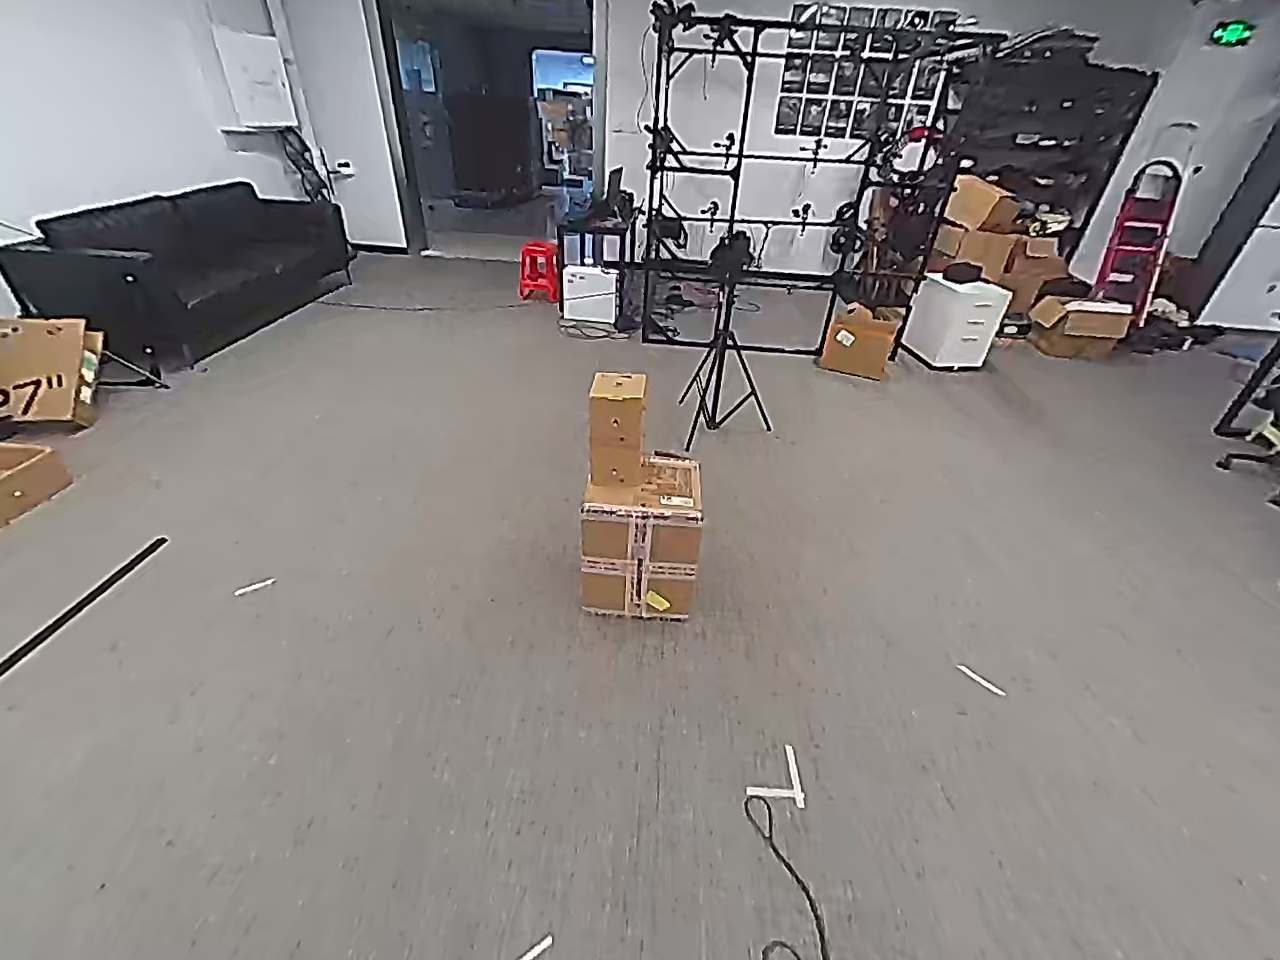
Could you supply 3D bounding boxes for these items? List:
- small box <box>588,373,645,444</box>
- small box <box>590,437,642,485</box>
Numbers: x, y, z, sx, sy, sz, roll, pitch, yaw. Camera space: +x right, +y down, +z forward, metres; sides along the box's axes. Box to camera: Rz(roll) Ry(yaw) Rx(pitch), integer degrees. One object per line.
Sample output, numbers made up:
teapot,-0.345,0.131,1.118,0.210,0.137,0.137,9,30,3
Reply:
small box,-0.072,-0.230,1.745,0.168,0.176,0.179,3,37,3
small box,-0.079,-0.103,1.849,0.168,0.176,0.179,2,36,2
